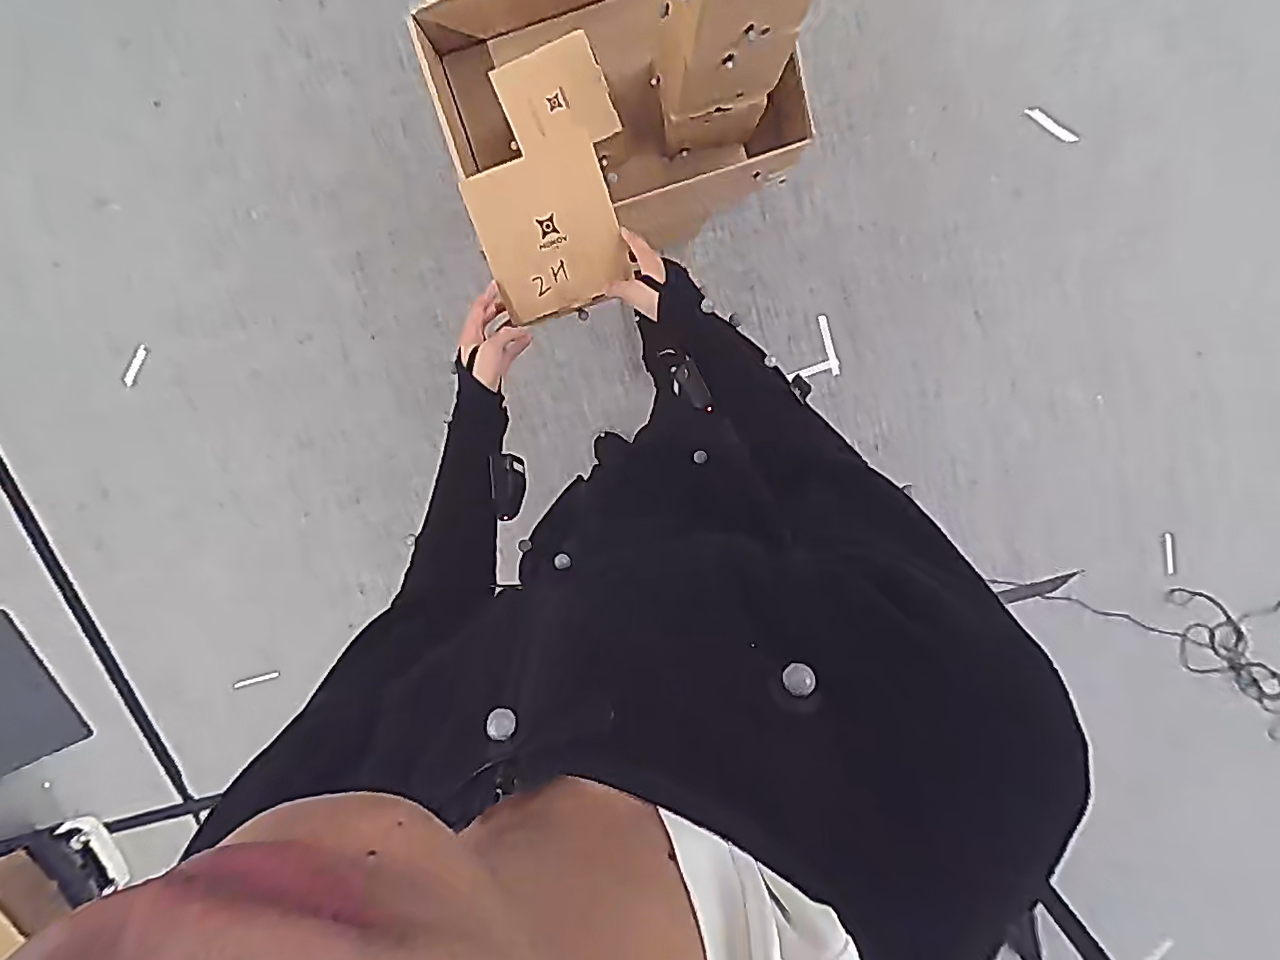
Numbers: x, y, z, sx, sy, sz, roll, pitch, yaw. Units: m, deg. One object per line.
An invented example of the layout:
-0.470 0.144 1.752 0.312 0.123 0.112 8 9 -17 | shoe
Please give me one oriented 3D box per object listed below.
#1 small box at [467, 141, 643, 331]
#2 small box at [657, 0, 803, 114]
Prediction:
-0.103 -0.310 0.724 0.168 0.176 0.179 -19 107 4 | small box
0.122 -0.688 0.798 0.168 0.176 0.179 -13 101 3 | small box
